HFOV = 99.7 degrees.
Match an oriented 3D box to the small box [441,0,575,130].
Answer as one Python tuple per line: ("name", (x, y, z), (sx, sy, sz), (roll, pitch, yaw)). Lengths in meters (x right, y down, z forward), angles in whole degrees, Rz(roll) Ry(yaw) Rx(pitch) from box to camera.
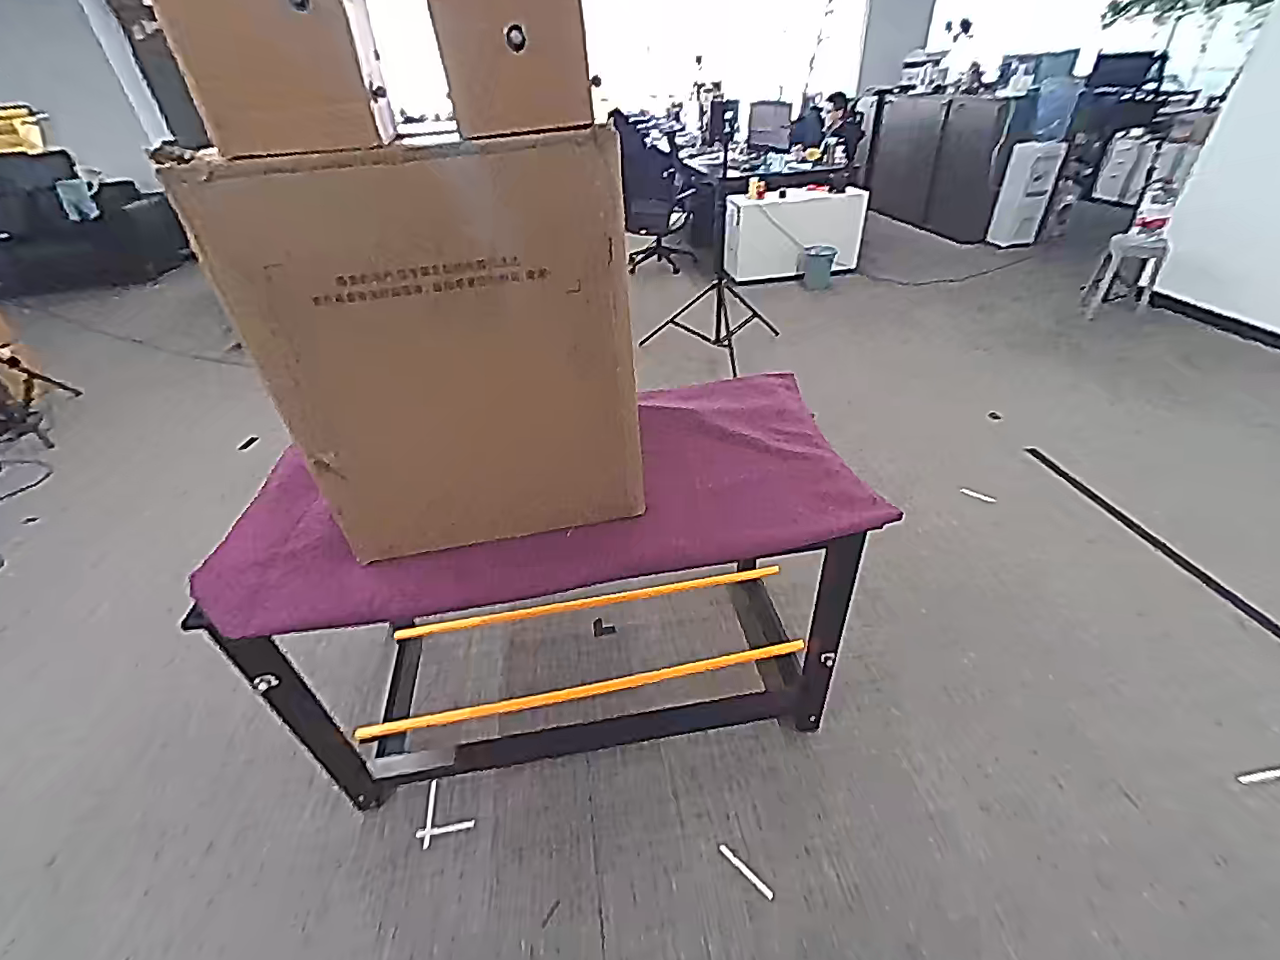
("small box", (-0.195, -0.647, 0.833), (0.168, 0.176, 0.179), (-9, 37, -5))
